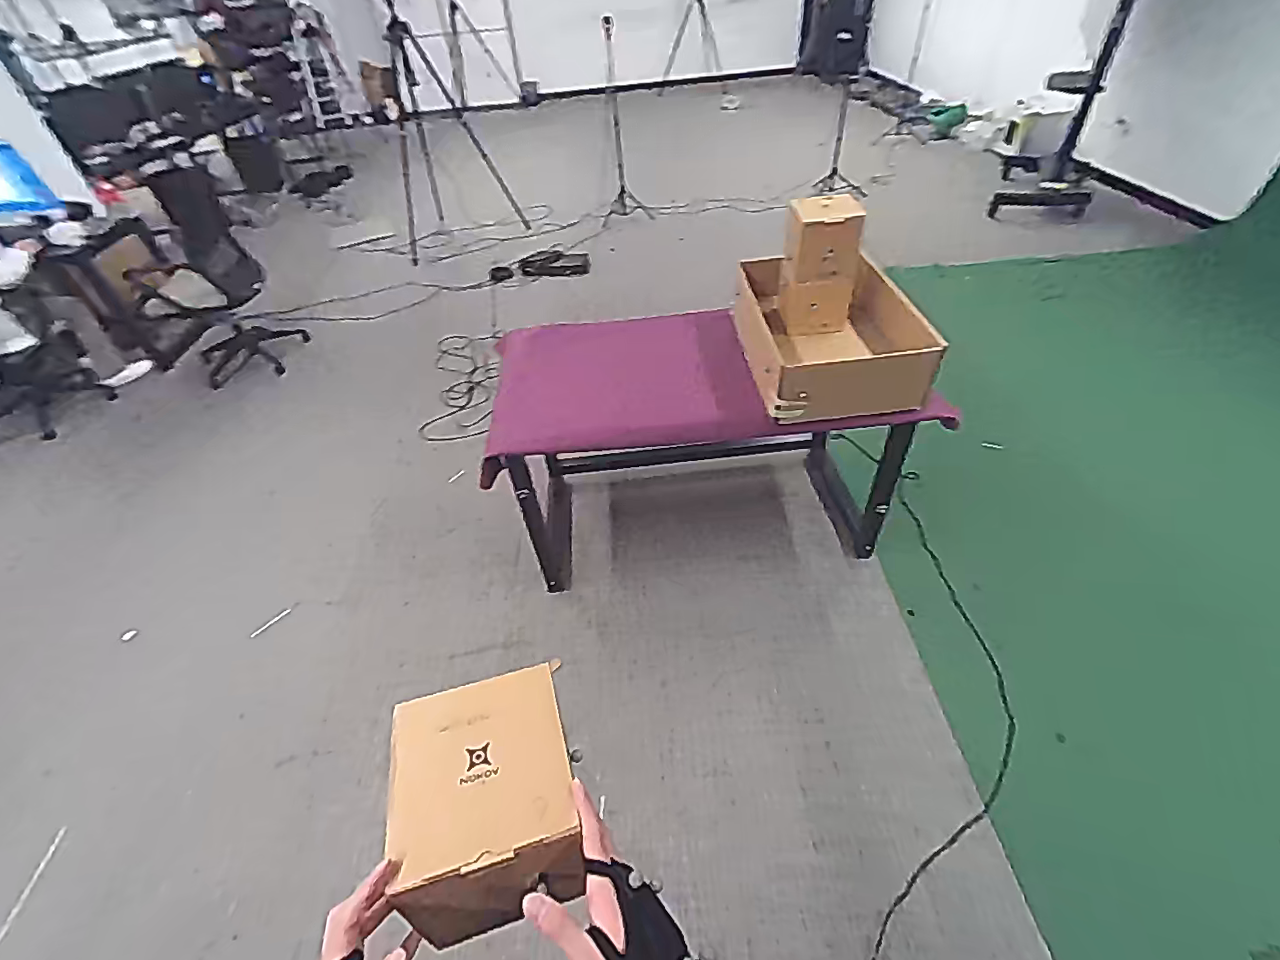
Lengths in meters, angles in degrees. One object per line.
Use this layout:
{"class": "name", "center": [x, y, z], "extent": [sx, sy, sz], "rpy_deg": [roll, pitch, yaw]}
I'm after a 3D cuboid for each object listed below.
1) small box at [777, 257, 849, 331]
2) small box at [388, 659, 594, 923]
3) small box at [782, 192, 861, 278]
{"class": "small box", "center": [0.511, -0.559, 1.619], "extent": [0.168, 0.176, 0.179], "rpy_deg": [-5, 46, 3]}
{"class": "small box", "center": [-0.147, 0.327, 0.569], "extent": [0.168, 0.176, 0.179], "rpy_deg": [-10, 38, -11]}
{"class": "small box", "center": [0.497, -0.675, 1.504], "extent": [0.168, 0.176, 0.179], "rpy_deg": [-4, 46, 3]}
